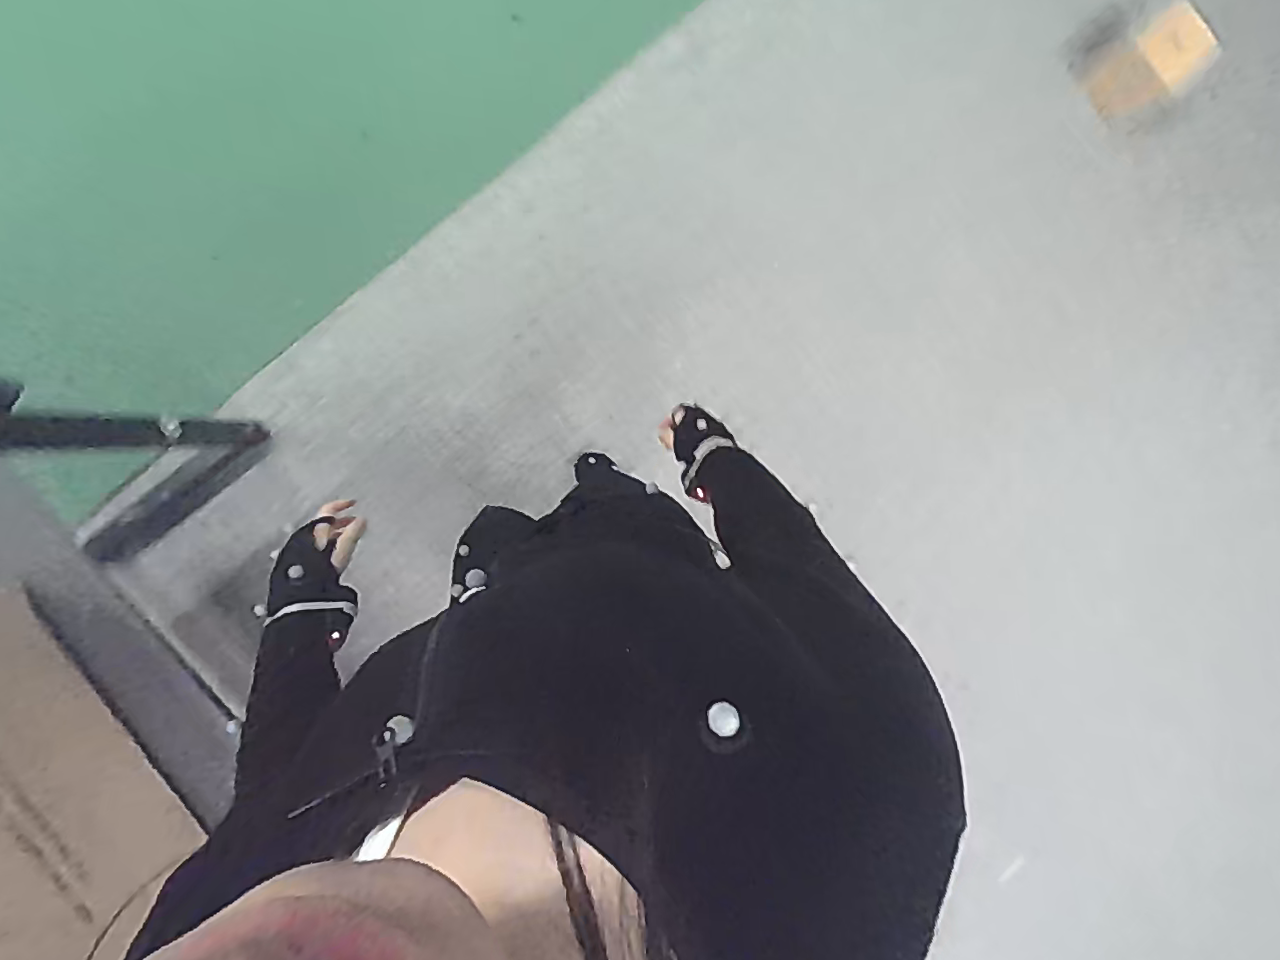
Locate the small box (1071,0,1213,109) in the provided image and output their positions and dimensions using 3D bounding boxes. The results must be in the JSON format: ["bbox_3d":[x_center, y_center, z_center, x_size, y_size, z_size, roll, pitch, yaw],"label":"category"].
[{"bbox_3d":[1.298,-1.118,1.410,0.168,0.176,0.179,-44,95,2],"label":"small box"}]
